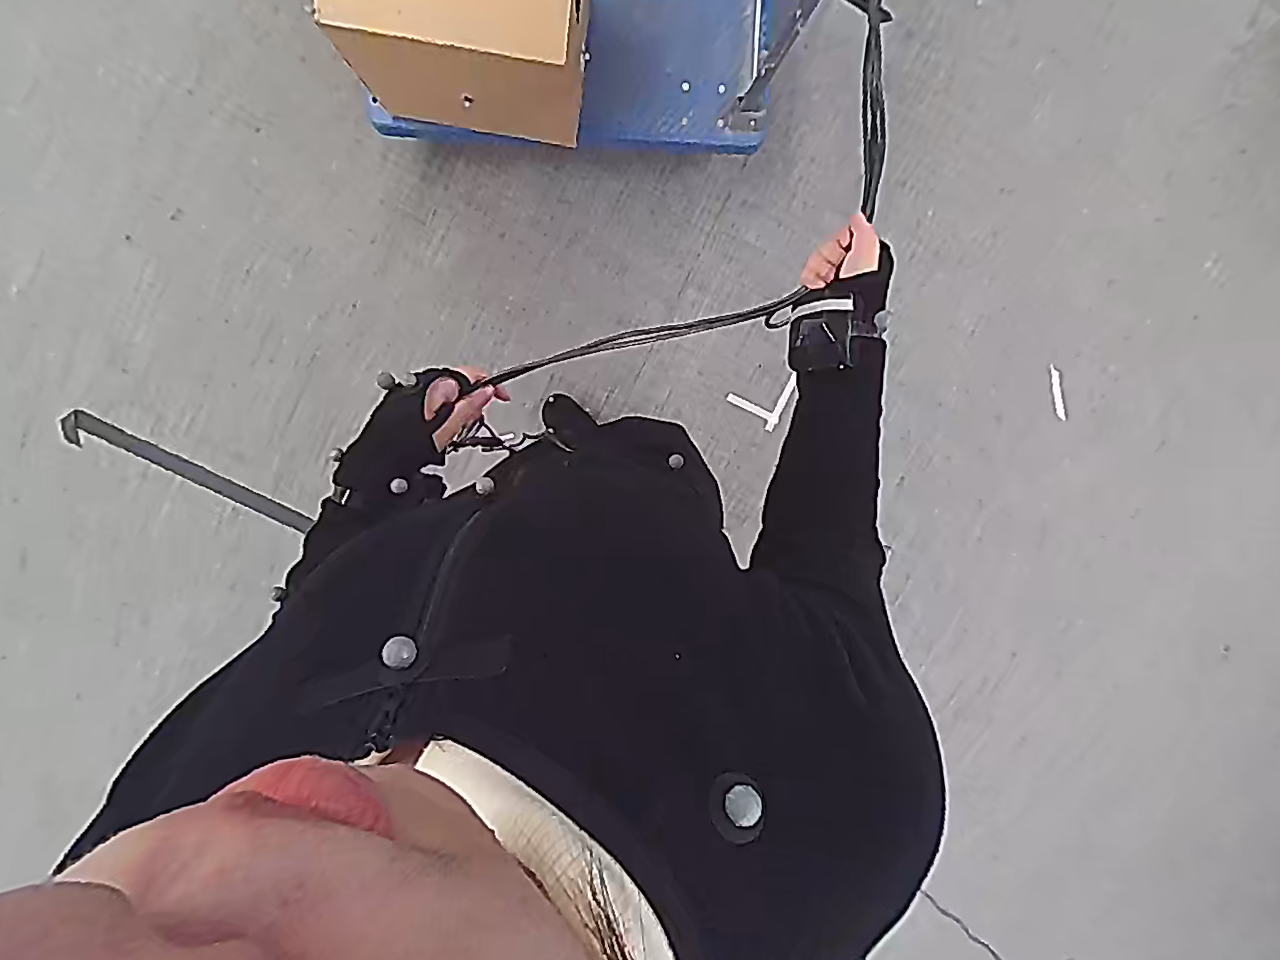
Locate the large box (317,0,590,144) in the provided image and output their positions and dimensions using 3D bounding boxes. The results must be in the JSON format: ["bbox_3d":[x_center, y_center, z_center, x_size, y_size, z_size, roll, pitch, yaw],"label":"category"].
[{"bbox_3d":[-0.306,-0.869,0.994,0.408,0.320,0.320,6,98,-4],"label":"large box"}]
